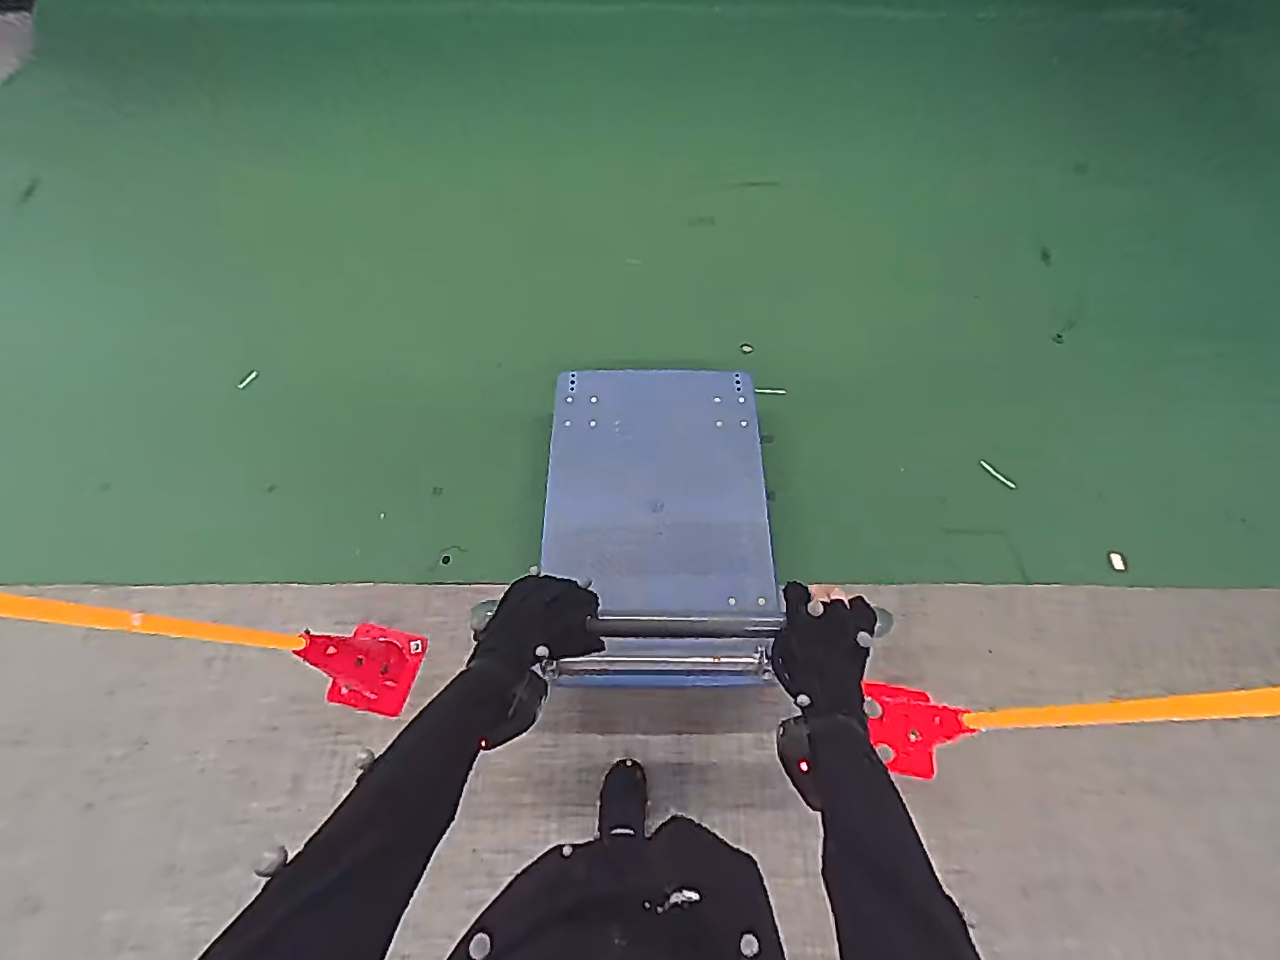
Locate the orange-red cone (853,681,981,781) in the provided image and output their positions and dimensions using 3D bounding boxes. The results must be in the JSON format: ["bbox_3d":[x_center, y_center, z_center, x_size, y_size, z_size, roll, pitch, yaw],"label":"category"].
[{"bbox_3d":[0.618,0.529,1.159,0.198,0.360,0.199,10,64,5],"label":"orange-red cone"}]
